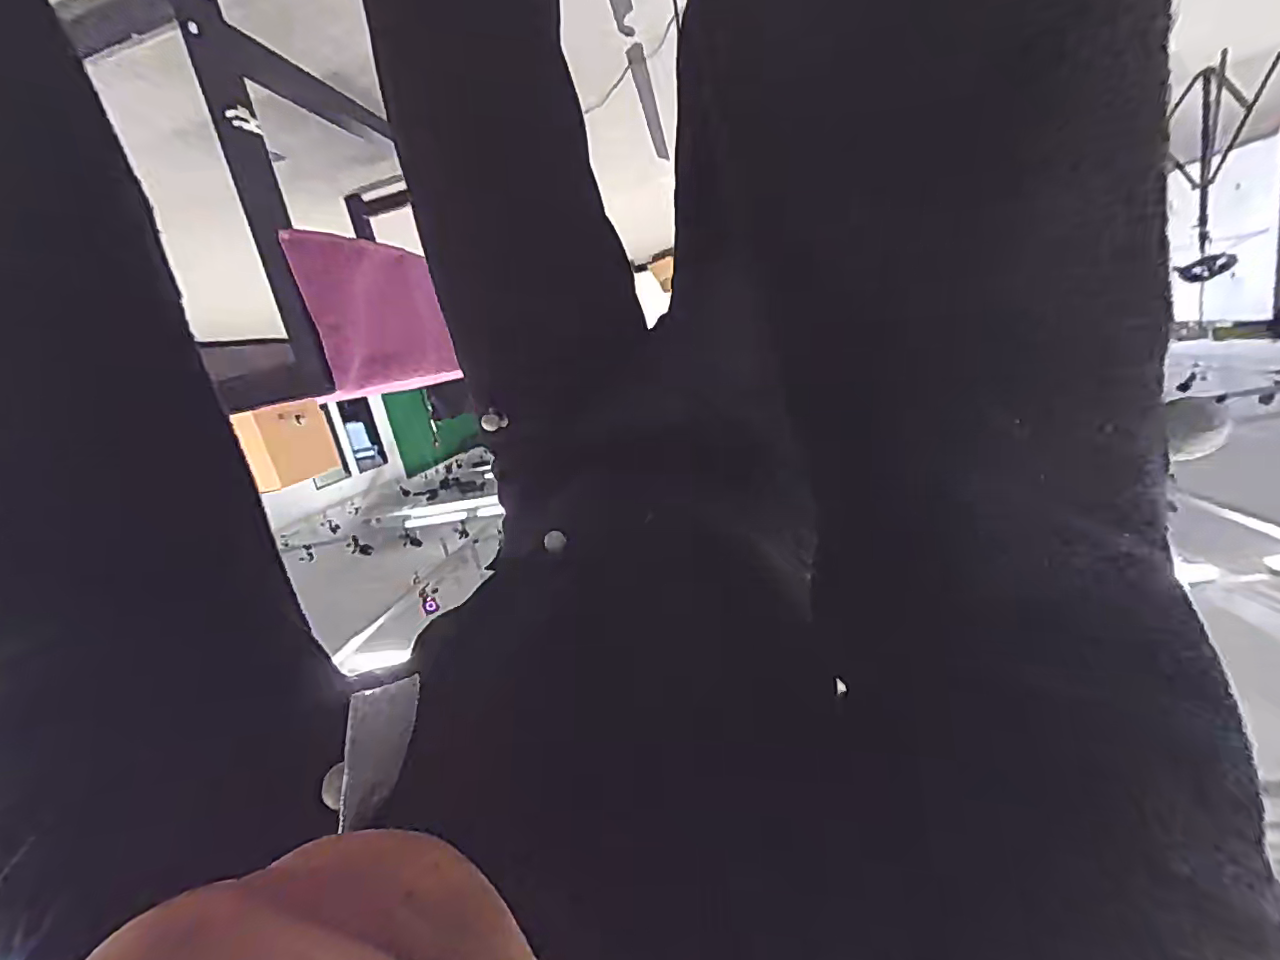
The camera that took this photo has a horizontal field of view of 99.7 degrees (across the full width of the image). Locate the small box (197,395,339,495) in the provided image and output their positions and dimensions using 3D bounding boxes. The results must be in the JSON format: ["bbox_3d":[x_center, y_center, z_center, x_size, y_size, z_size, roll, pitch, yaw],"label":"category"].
[{"bbox_3d":[-0.799,-0.080,1.163,0.179,0.176,0.168,-8,-163,15],"label":"small box"}]
